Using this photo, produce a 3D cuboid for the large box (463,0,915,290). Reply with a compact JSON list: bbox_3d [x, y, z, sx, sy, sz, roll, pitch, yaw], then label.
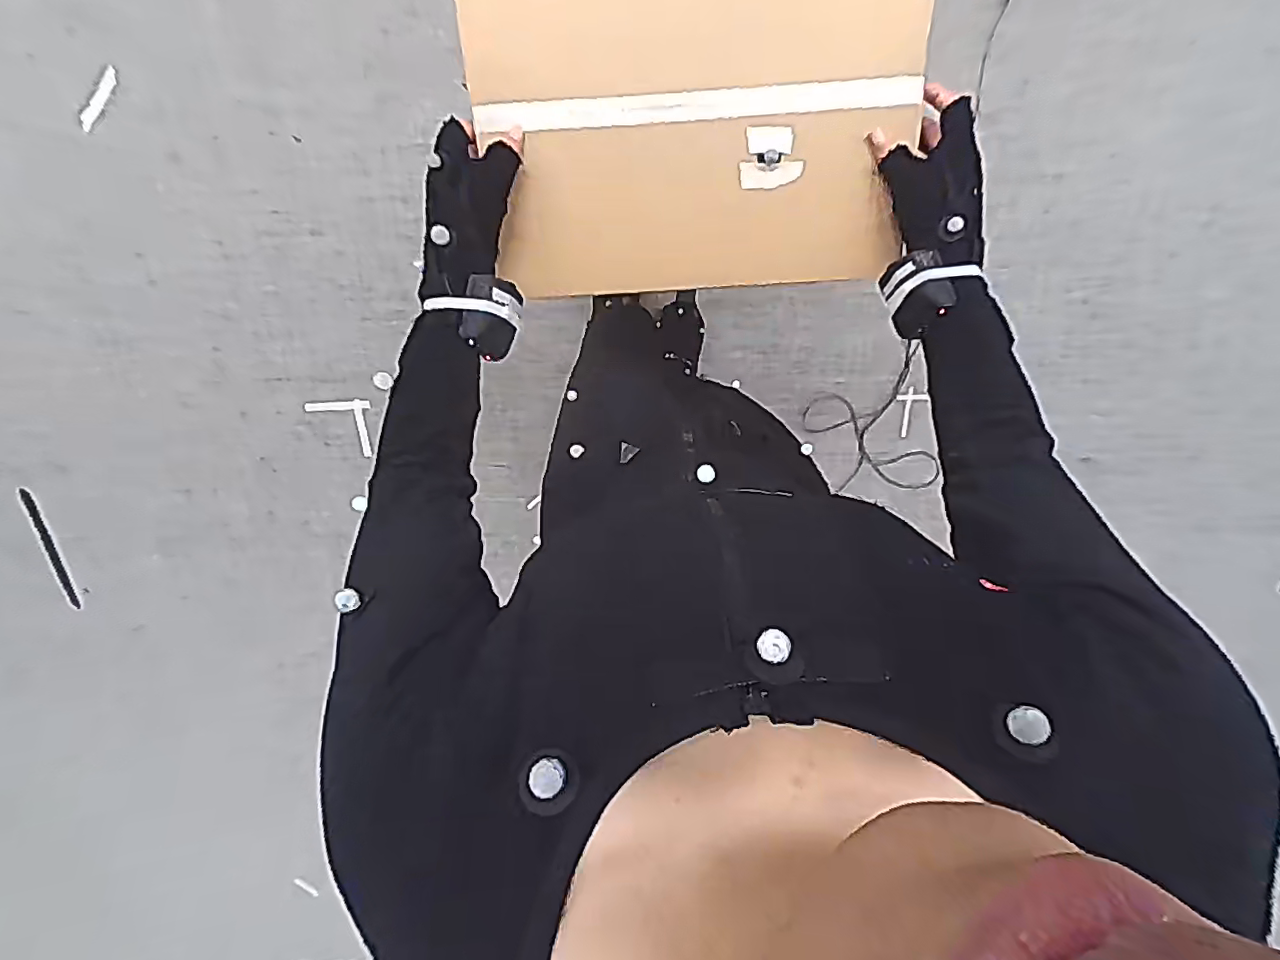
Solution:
[{"bbox_3d":[0.044,-0.415,0.640,0.408,0.320,0.320,-4,115,0],"label":"large box"}]
